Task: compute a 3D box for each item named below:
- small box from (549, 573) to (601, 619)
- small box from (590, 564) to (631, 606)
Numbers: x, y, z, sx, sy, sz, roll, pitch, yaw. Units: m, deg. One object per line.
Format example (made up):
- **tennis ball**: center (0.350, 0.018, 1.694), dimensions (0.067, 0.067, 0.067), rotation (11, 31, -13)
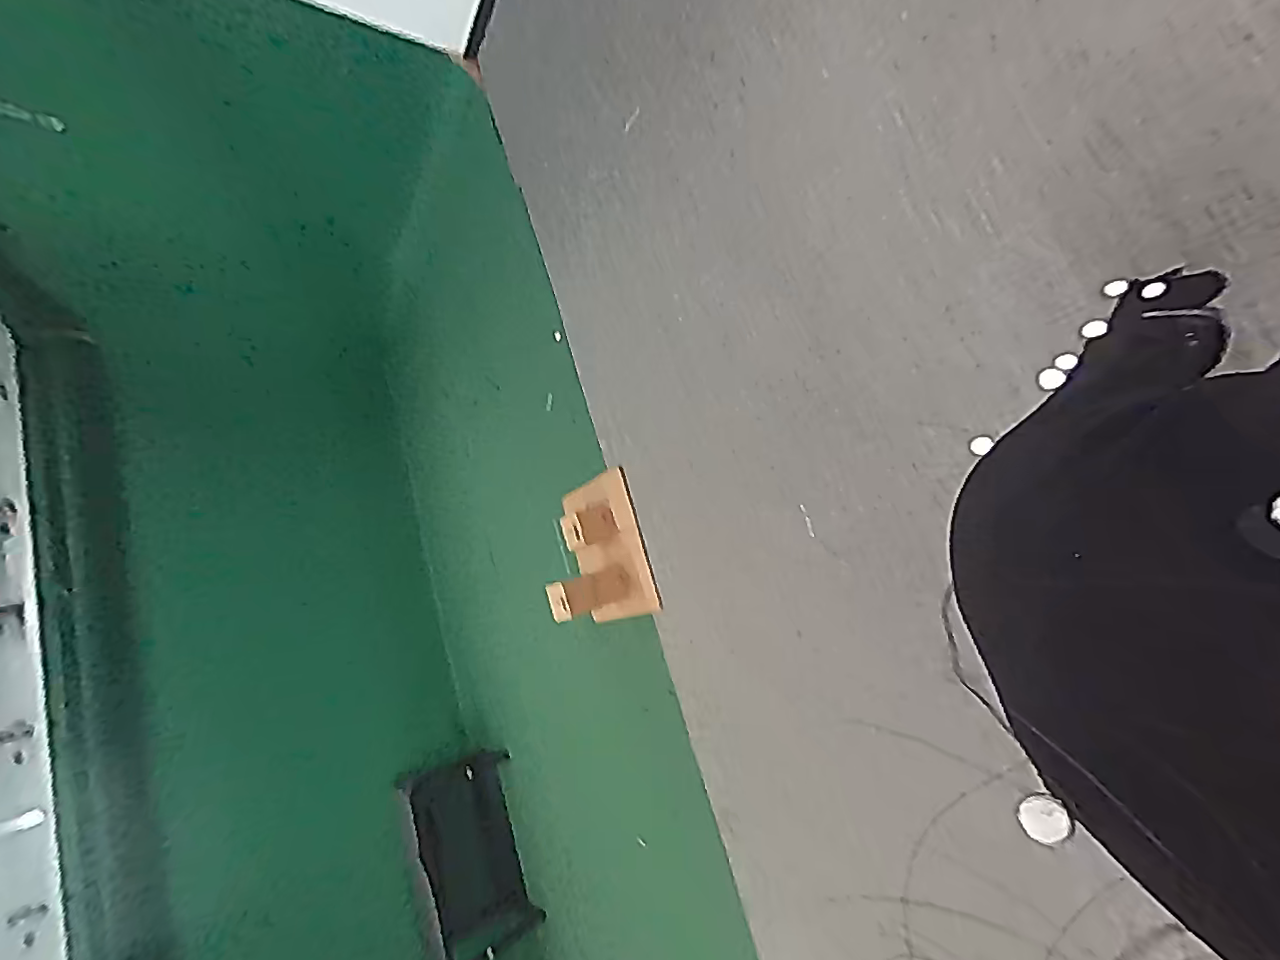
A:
- **small box**: center (-0.300, 0.542, 2.534), dimensions (0.179, 0.176, 0.168), rotation (-28, 77, 52)
- **small box**: center (-0.172, 0.517, 2.634), dimensions (0.179, 0.176, 0.168), rotation (-30, 75, 50)
